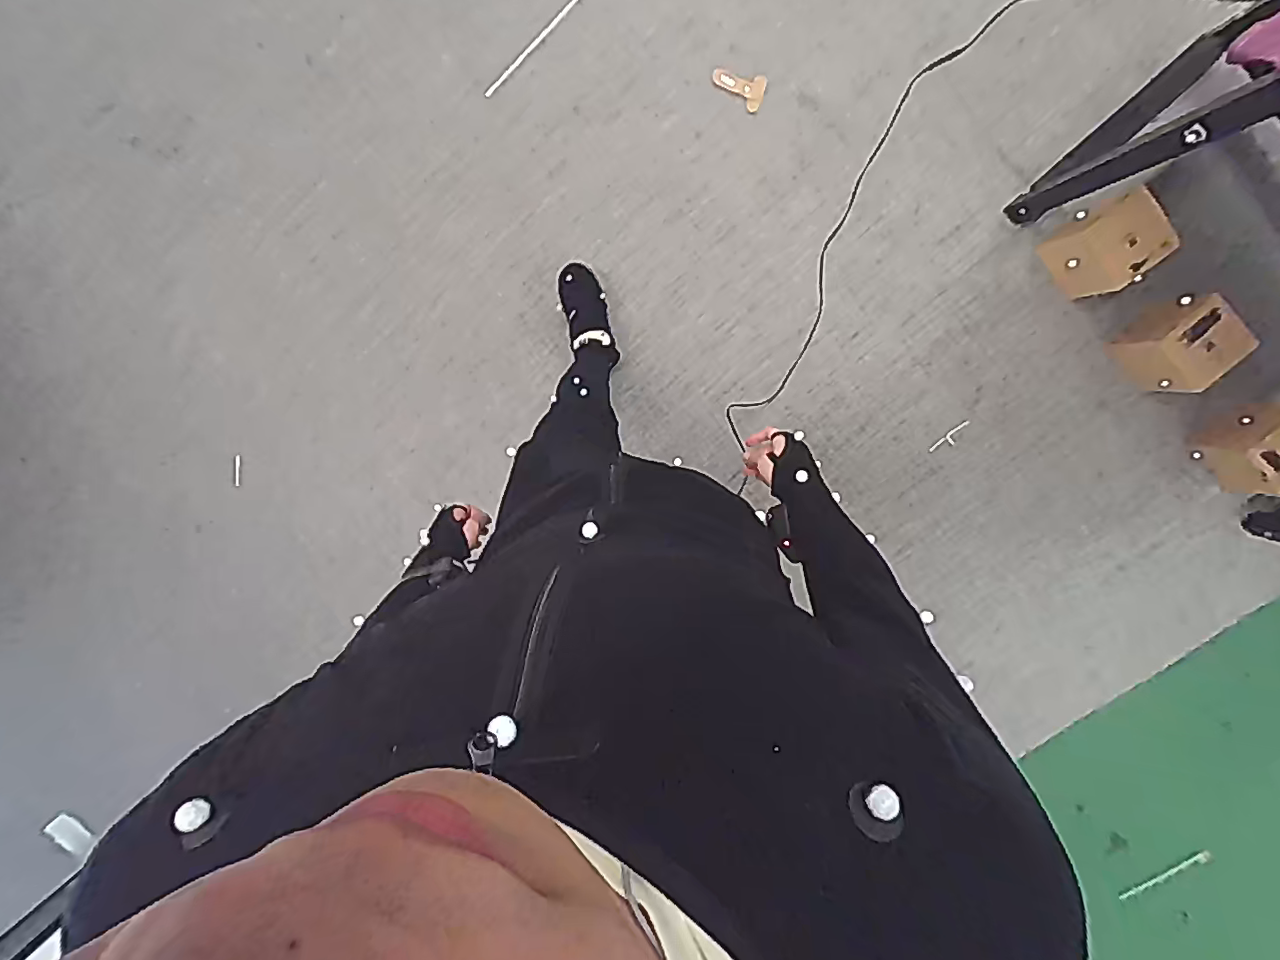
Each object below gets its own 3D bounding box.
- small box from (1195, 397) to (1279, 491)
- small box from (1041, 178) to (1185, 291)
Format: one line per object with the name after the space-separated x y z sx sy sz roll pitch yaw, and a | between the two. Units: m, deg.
1.622 -0.098 1.409 0.179 0.176 0.168 -44 97 9 | small box
1.150 -0.591 1.332 0.168 0.176 0.179 -39 97 10 | small box
